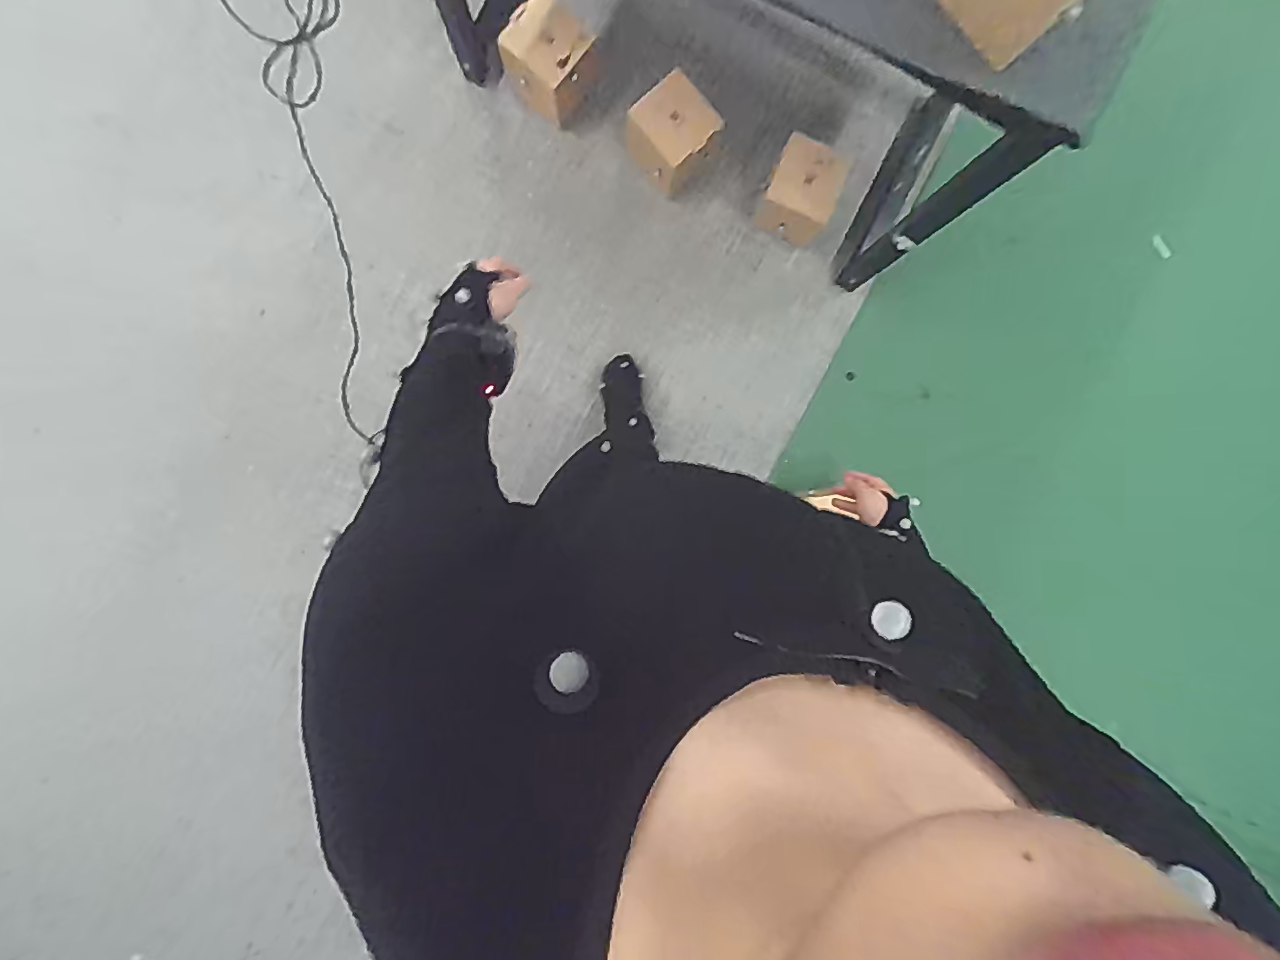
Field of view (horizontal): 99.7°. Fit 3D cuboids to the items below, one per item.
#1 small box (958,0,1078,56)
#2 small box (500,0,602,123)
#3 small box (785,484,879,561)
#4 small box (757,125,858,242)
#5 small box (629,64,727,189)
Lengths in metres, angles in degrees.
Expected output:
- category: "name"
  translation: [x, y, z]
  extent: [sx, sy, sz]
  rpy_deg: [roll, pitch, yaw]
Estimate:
- category: "small box"
  translation: [0.493, -0.676, 0.646]
  extent: [0.168, 0.176, 0.179]
  rpy_deg: [-42, 92, -2]
- category: "small box"
  translation: [-0.212, -1.040, 1.335]
  extent: [0.179, 0.176, 0.168]
  rpy_deg: [39, 91, -3]
- category: "small box"
  translation: [0.498, 0.105, 1.417]
  extent: [0.179, 0.176, 0.168]
  rpy_deg: [-8, 93, -1]
- category: "small box"
  translation: [0.413, -0.740, 1.373]
  extent: [0.168, 0.176, 0.179]
  rpy_deg: [22, 91, -4]
- category: "small box"
  translation: [0.089, -0.868, 1.355]
  extent: [0.168, 0.176, 0.179]
  rpy_deg: [-42, 92, -1]
